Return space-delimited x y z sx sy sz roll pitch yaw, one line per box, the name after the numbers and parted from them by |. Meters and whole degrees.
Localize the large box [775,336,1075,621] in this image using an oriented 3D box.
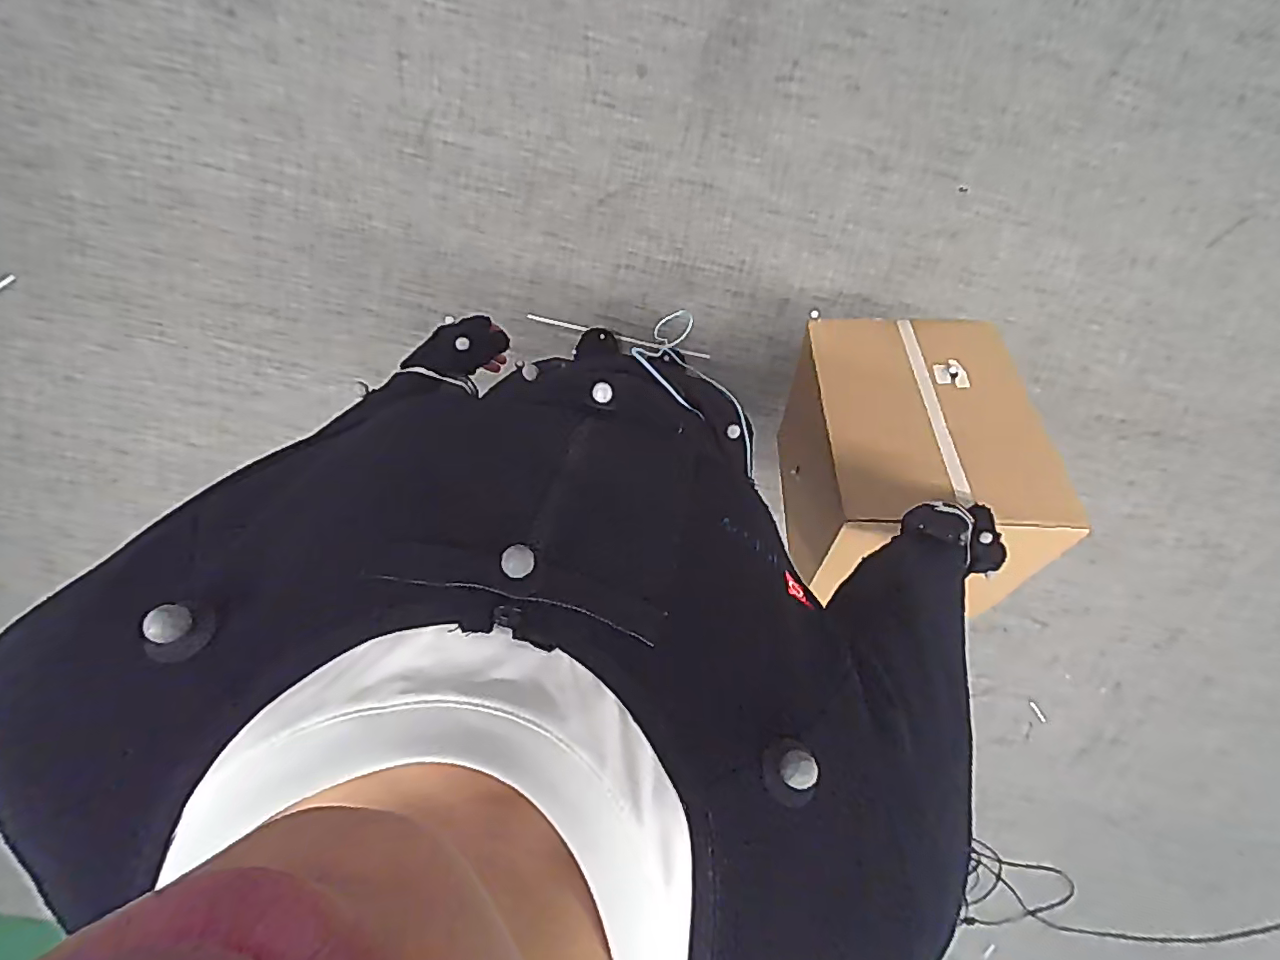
0.433 0.002 0.948 0.320 0.408 0.320 2 143 2 | large box
